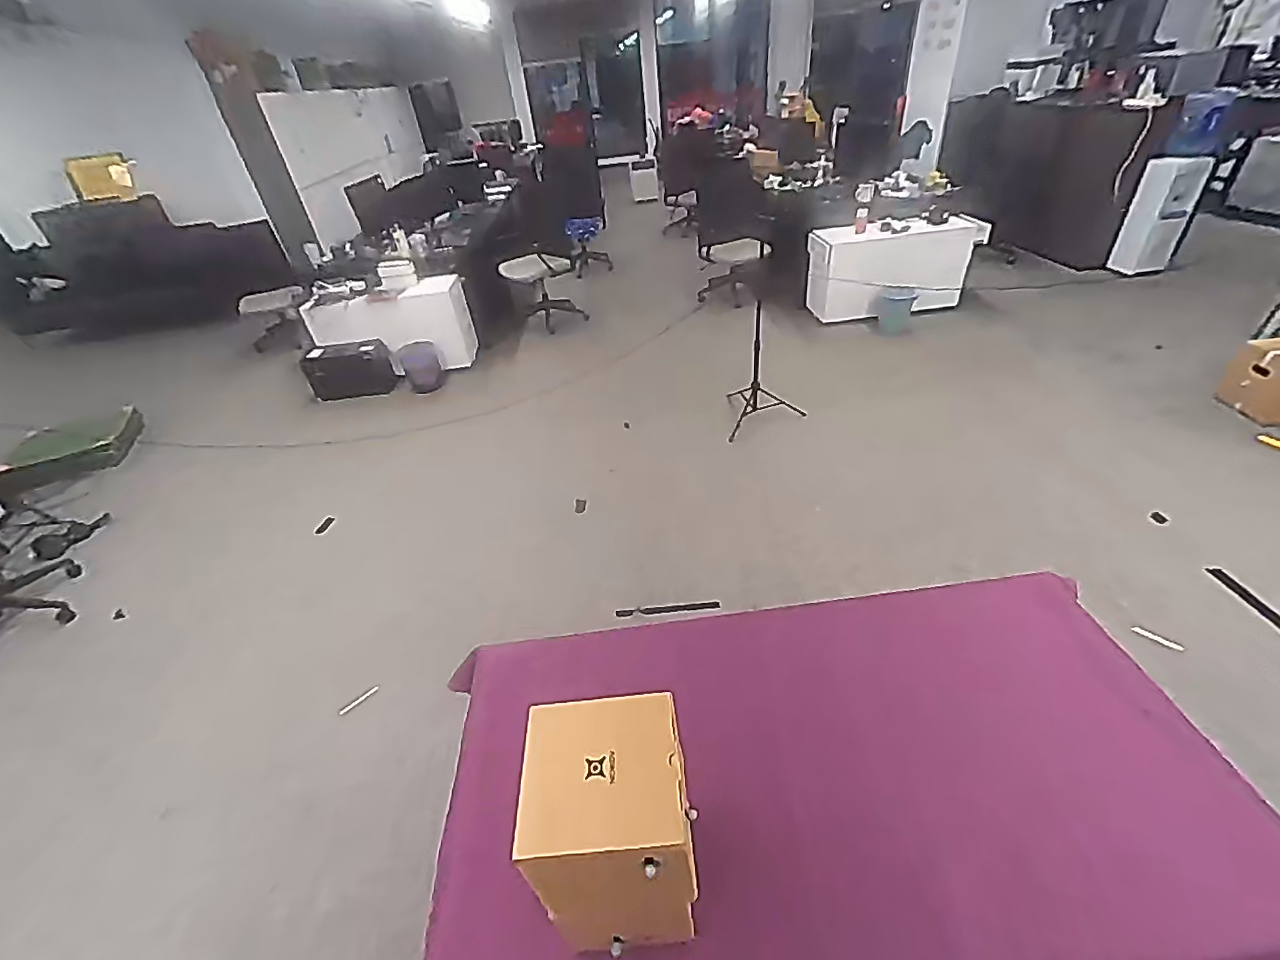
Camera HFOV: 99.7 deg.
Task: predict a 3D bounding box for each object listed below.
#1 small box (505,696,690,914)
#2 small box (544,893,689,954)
[{"bbox_3d":[-0.040,0.380,0.632,0.179,0.176,0.168,-6,37,2],"label":"small box"},{"bbox_3d":[-0.027,0.505,0.735,0.168,0.176,0.179,-7,38,2],"label":"small box"}]
